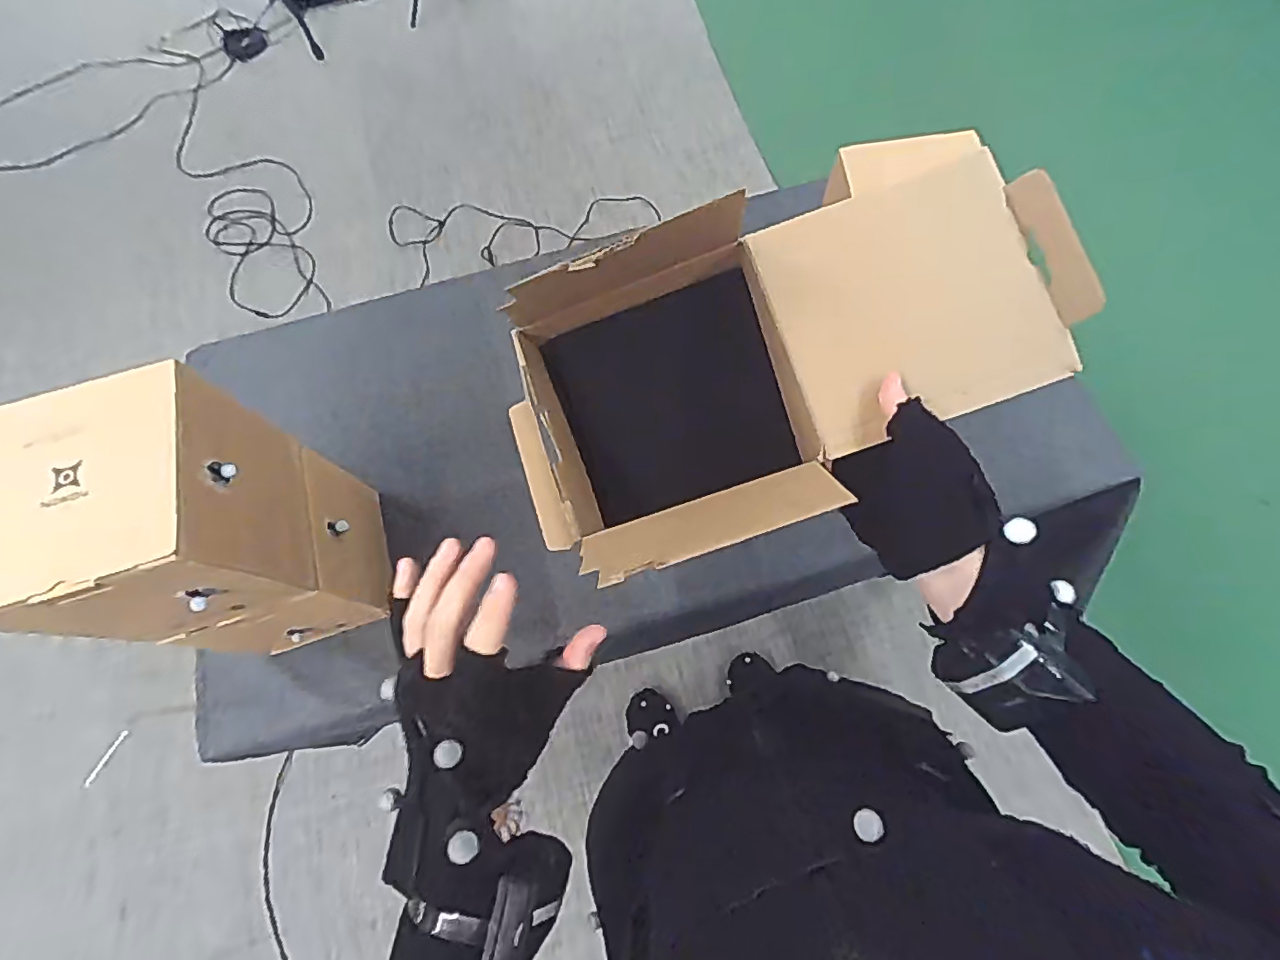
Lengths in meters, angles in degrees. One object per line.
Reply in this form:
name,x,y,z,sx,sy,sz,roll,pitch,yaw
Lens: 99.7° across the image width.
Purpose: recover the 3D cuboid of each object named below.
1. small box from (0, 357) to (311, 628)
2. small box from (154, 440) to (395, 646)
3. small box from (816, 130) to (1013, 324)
small box,-0.424,0.026,0.482,0.168,0.176,0.179,-16,70,-4
small box,-0.414,0.082,0.634,0.168,0.176,0.179,-18,70,-3
small box,0.348,-0.329,0.731,0.179,0.176,0.168,-5,71,2
